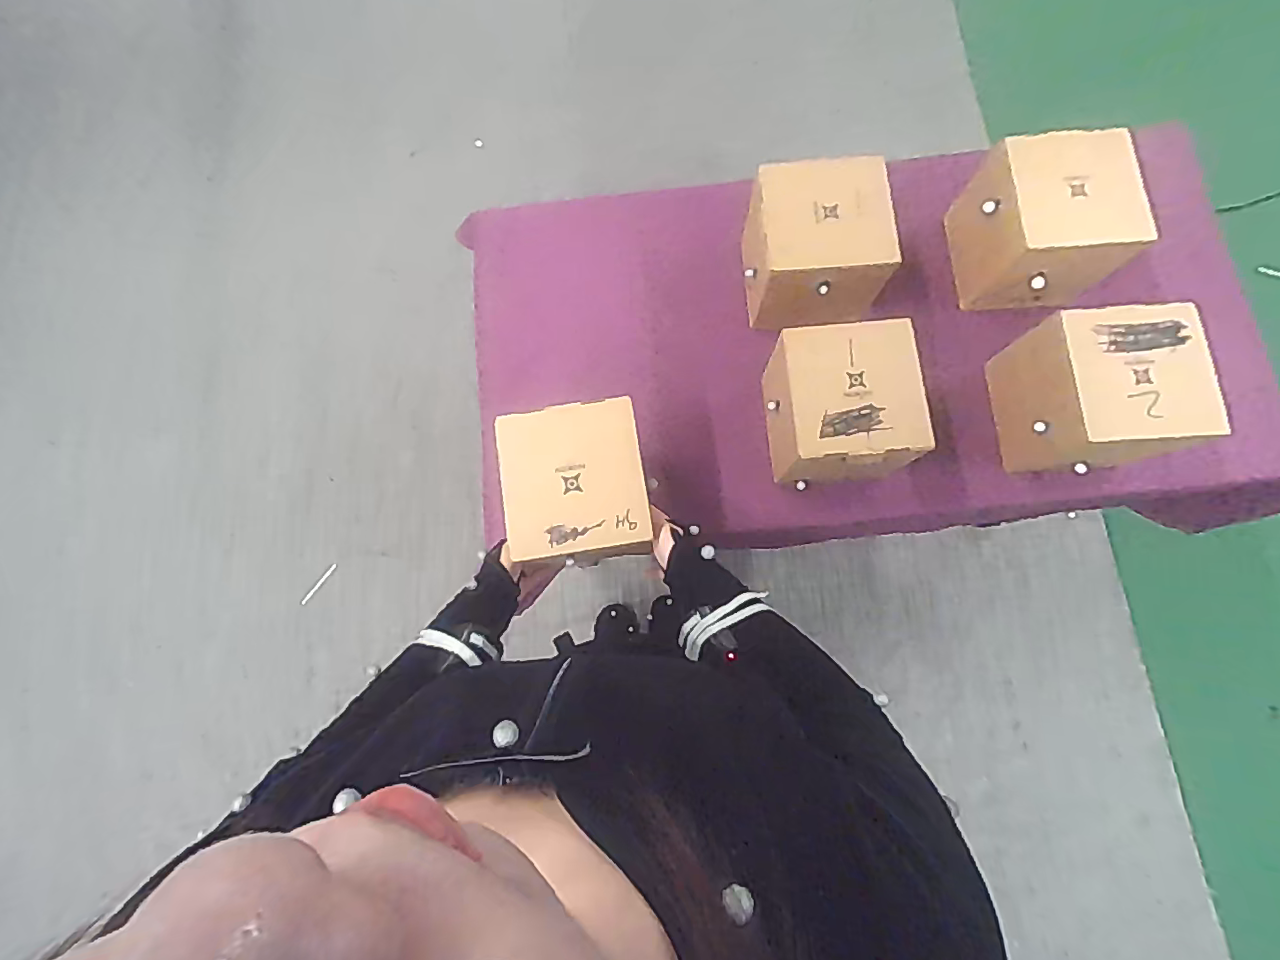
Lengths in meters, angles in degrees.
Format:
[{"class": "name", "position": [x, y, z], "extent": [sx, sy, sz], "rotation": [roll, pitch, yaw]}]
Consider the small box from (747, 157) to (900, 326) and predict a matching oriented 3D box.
[{"class": "small box", "position": [0.258, -0.342, 0.804], "extent": [0.179, 0.176, 0.168], "rotation": [-3, 79, 2]}]

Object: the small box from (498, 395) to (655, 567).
[{"class": "small box", "position": [-0.073, 0.011, 0.696], "extent": [0.168, 0.176, 0.179], "rotation": [-9, 78, 1]}]

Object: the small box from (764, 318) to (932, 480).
[{"class": "small box", "position": [0.273, -0.099, 0.750], "extent": [0.168, 0.176, 0.179], "rotation": [-4, 77, 3]}]

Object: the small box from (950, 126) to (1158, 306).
[{"class": "small box", "position": [0.584, -0.369, 0.789], "extent": [0.168, 0.176, 0.179], "rotation": [-3, 77, 3]}]
